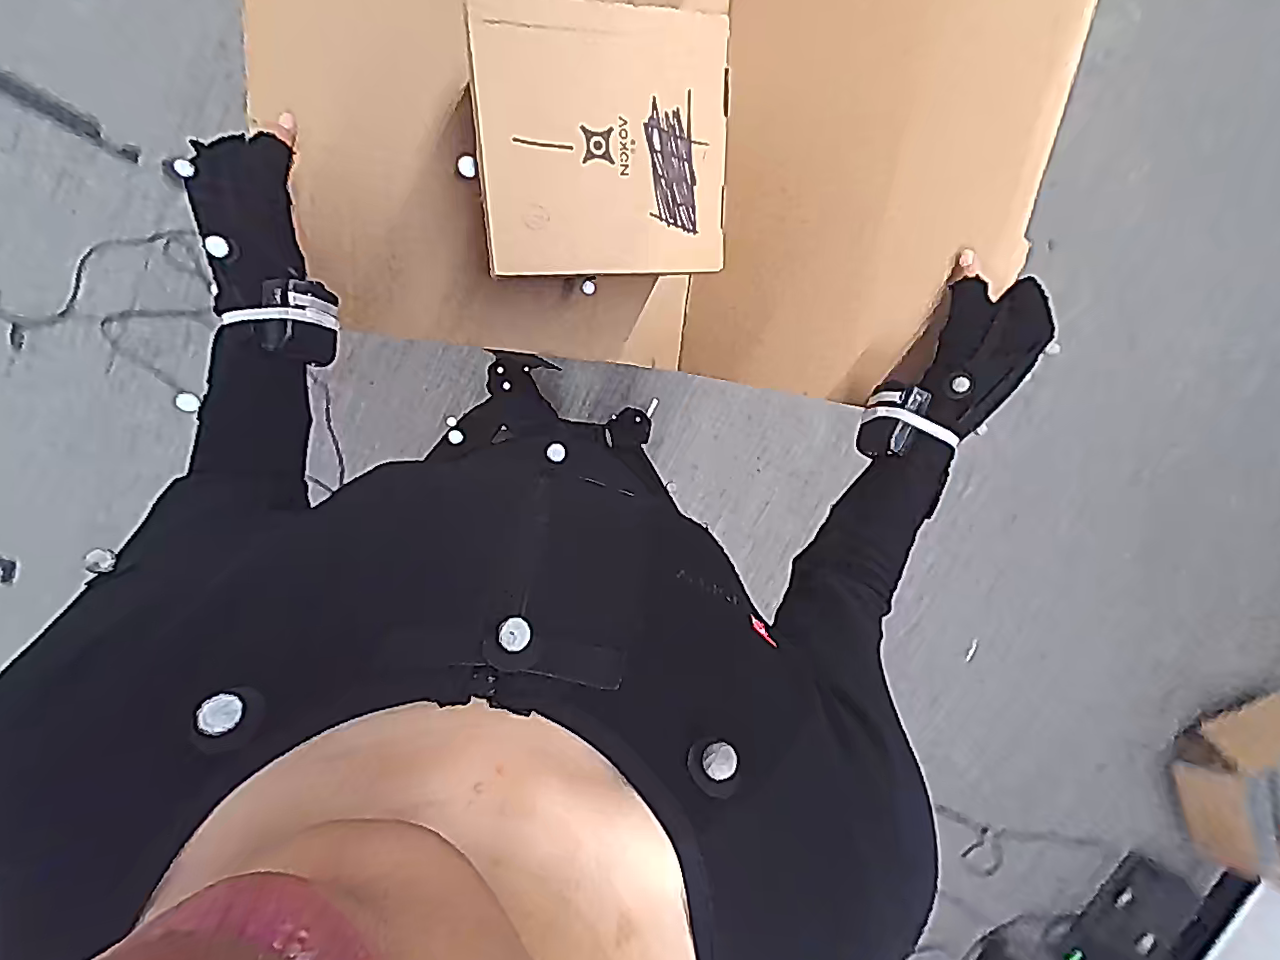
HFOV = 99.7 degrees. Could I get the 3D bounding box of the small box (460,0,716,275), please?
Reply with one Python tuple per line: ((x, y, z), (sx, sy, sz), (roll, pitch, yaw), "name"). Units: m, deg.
((-0.050, -0.263, 0.456), (0.179, 0.176, 0.168), (-7, 111, -13), "small box")
